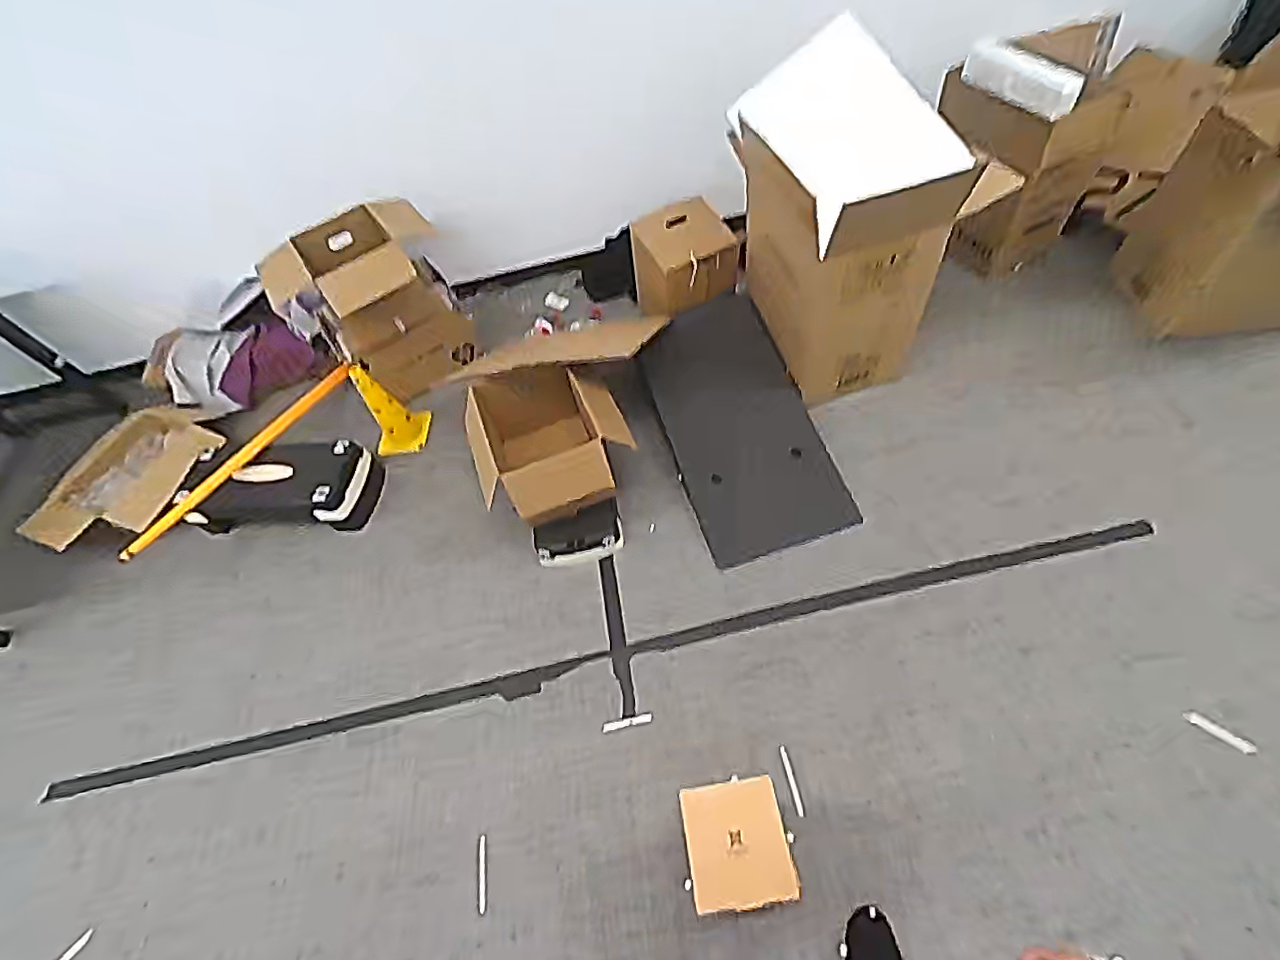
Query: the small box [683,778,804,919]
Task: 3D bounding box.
[{"bbox_3d":[0.174,0.647,0.955,0.168,0.176,0.179,-11,55,1],"label":"small box"}]
